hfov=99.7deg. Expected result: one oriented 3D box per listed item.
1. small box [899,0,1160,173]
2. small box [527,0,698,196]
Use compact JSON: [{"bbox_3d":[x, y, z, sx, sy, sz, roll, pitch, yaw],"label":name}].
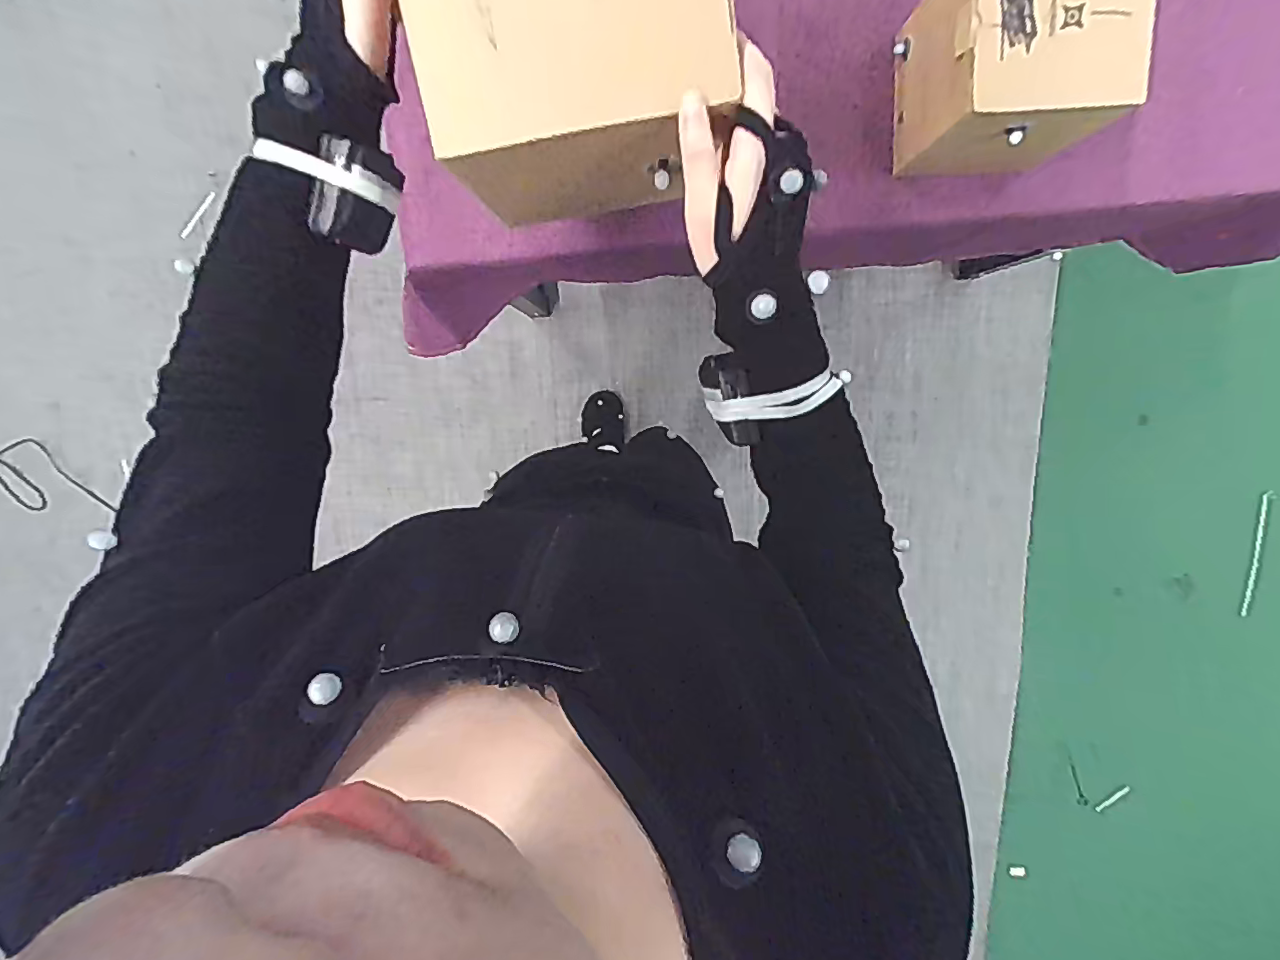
[{"bbox_3d":[0.409,-0.456,0.595,0.179,0.176,0.168,-3,101,0],"label":"small box"},{"bbox_3d":[-0.027,-0.438,0.599,0.168,0.176,0.179,-2,100,1],"label":"small box"}]
